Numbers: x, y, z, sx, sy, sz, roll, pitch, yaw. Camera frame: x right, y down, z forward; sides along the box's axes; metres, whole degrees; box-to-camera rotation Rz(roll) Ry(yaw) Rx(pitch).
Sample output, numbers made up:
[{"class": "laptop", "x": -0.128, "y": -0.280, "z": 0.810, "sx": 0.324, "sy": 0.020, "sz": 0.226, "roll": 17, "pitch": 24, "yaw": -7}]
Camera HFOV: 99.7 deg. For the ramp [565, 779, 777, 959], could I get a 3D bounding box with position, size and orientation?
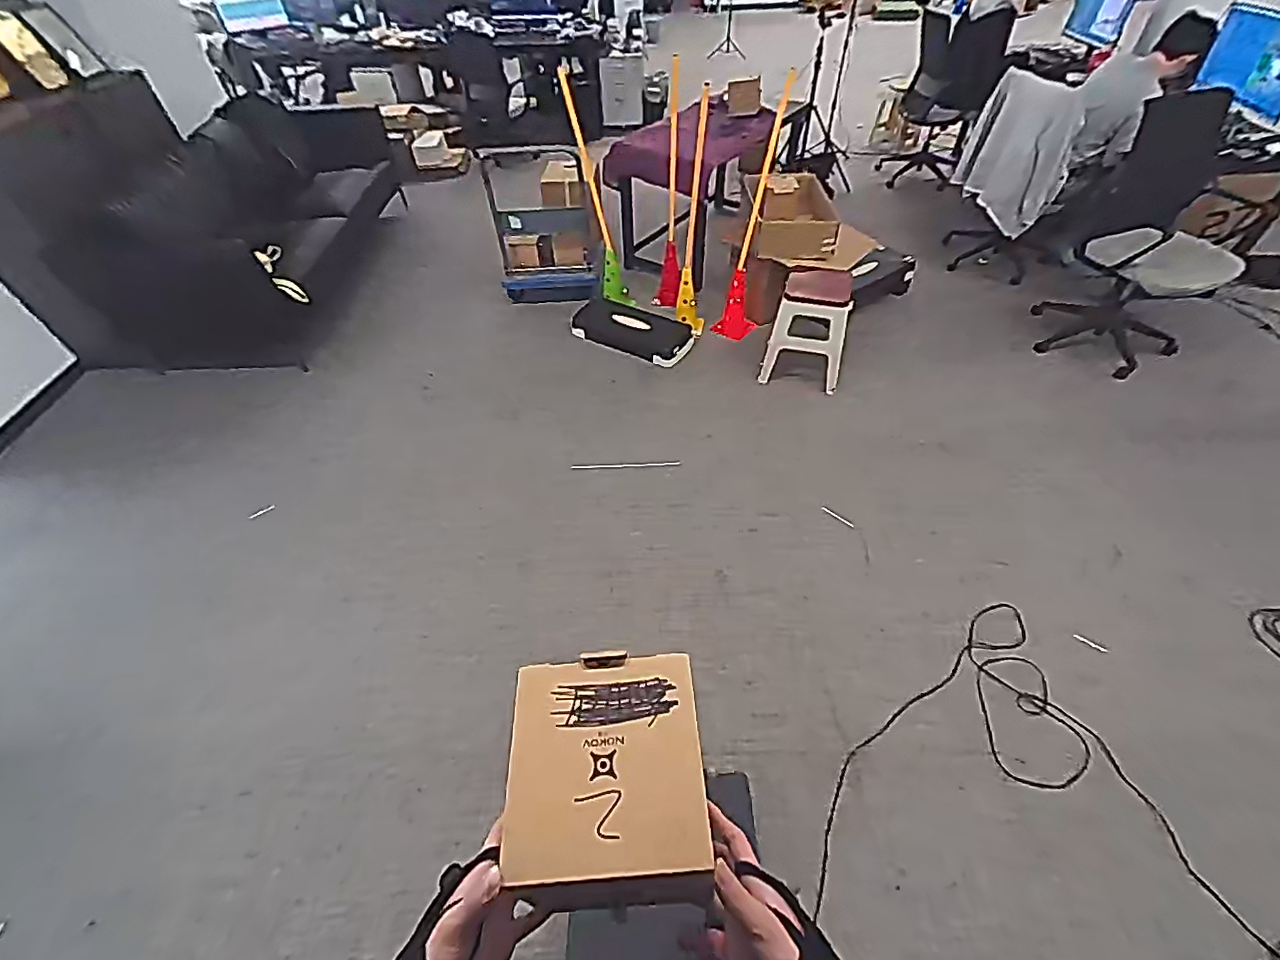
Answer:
[{"class": "ramp", "x": 0.069, "y": 1.177, "z": 1.166, "sx": 0.509, "sy": 0.206, "sz": 0.991, "roll": -4, "pitch": 48, "yaw": 1}]
